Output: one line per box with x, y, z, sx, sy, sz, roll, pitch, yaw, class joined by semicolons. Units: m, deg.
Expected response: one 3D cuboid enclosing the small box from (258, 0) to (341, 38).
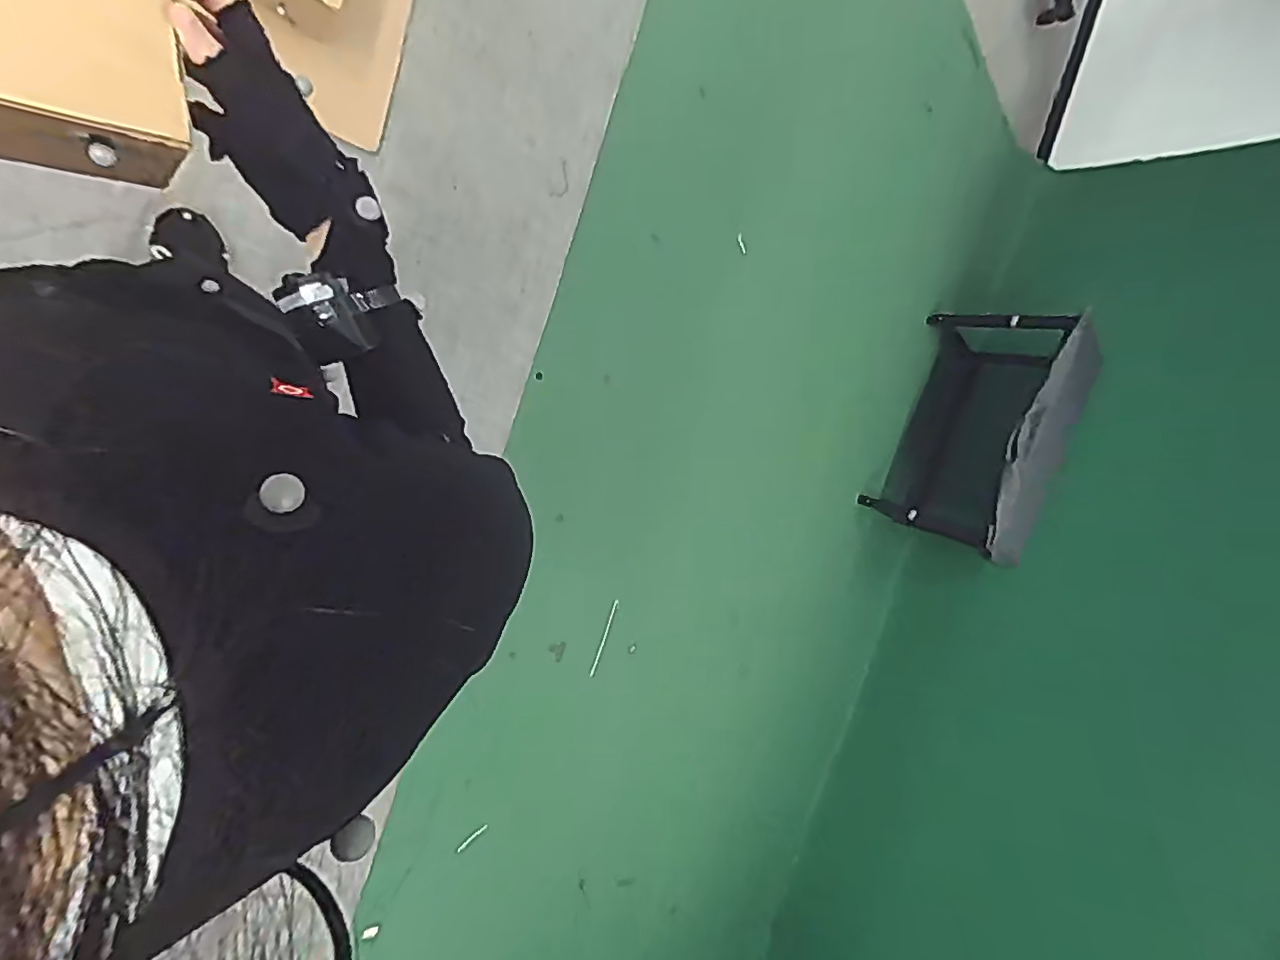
-0.654;-1.002;1.020;0.168;0.176;0.179;13;96;-40;small box

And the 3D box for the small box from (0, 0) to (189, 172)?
-0.374;-0.285;0.290;0.179;0.176;0.168;-11;110;-44;small box
